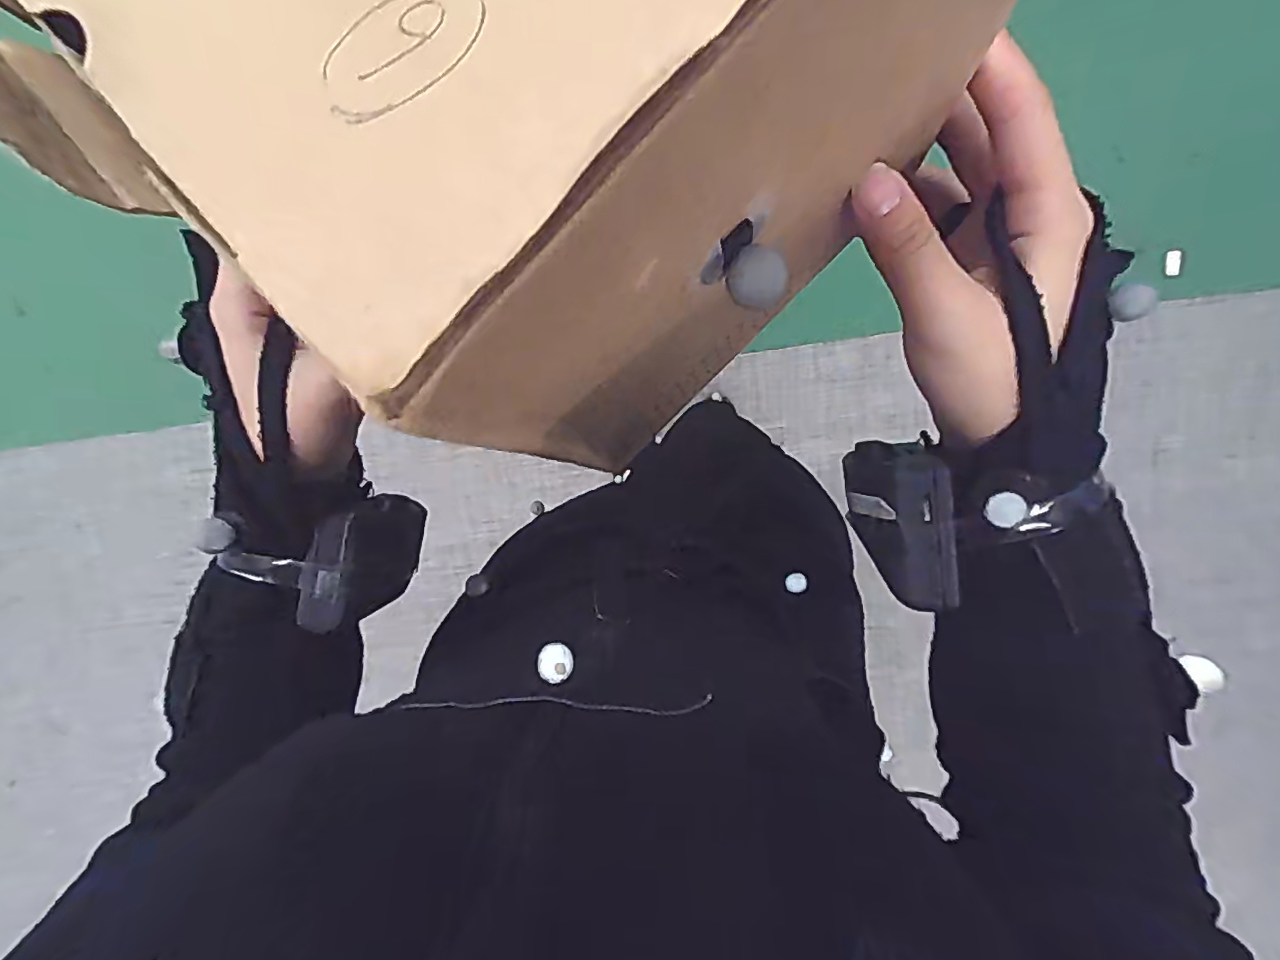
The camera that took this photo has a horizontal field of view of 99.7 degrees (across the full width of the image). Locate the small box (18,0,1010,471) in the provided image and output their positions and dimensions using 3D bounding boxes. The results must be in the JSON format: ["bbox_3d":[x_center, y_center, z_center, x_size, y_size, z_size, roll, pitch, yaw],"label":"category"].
[{"bbox_3d":[-0.014,-0.116,0.173,0.179,0.176,0.168,-45,82,6],"label":"small box"}]
